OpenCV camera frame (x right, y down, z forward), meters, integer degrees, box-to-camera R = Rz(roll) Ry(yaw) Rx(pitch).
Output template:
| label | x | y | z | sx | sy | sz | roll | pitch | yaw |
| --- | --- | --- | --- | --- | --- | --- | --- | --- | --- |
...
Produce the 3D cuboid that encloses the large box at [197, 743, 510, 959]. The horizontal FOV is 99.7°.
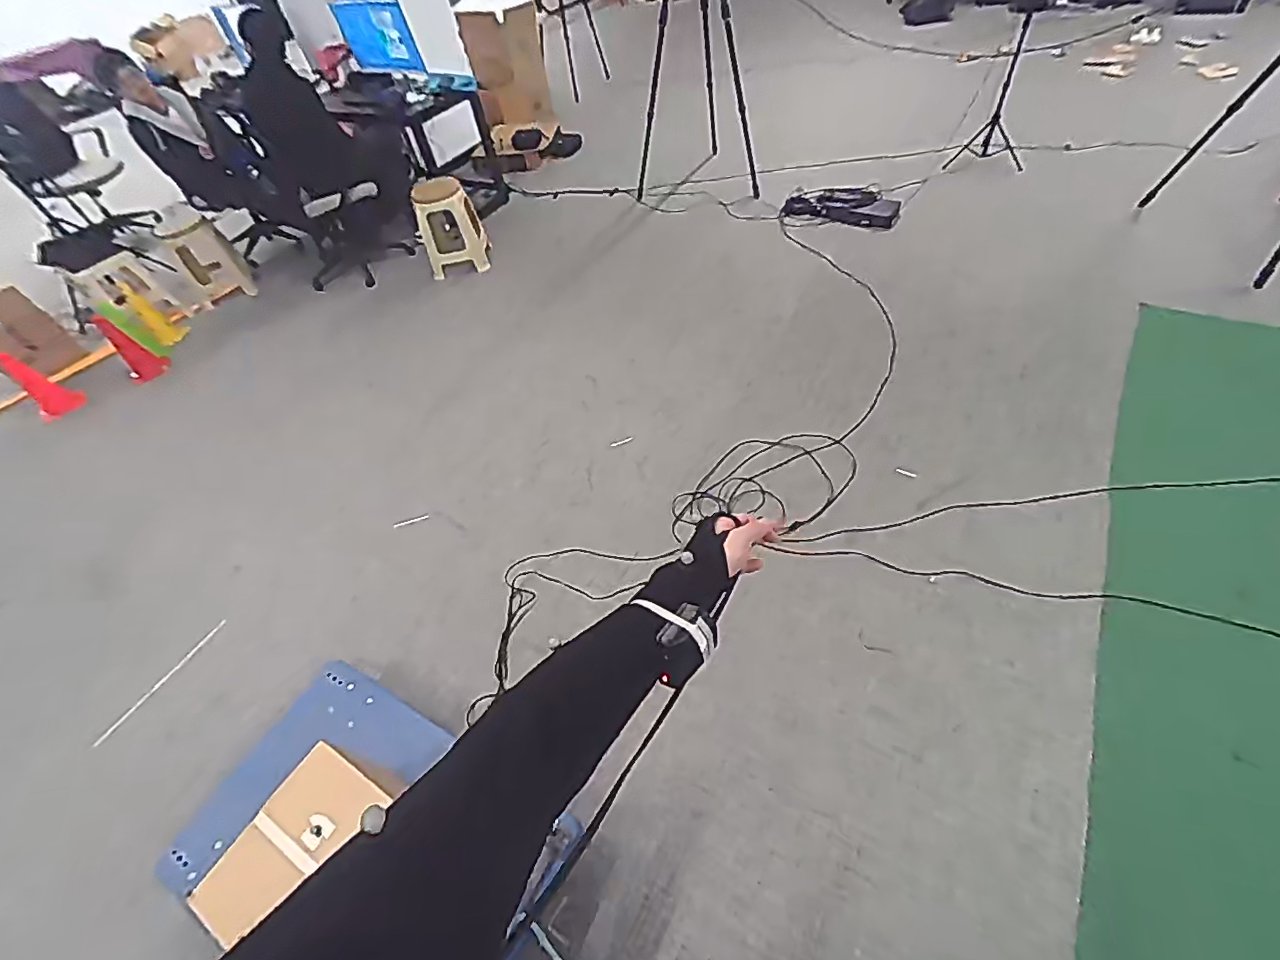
| label | x | y | z | sx | sy | sz | roll | pitch | yaw |
| --- | --- | --- | --- | --- | --- | --- | --- | --- | --- |
| large box | -0.544 | 0.813 | 1.093 | 0.408 | 0.320 | 0.320 | 21 | 56 | 25 |
